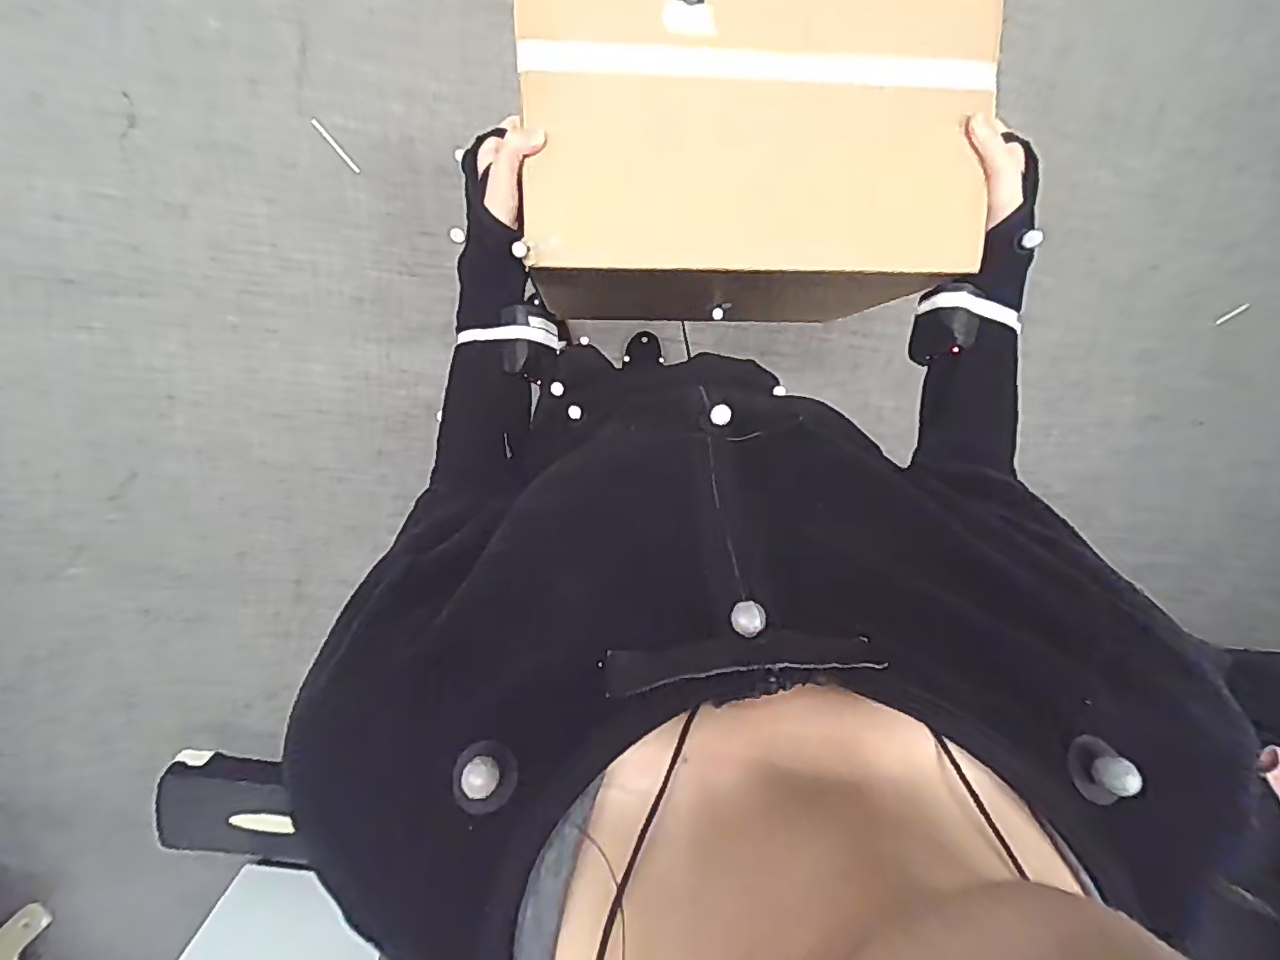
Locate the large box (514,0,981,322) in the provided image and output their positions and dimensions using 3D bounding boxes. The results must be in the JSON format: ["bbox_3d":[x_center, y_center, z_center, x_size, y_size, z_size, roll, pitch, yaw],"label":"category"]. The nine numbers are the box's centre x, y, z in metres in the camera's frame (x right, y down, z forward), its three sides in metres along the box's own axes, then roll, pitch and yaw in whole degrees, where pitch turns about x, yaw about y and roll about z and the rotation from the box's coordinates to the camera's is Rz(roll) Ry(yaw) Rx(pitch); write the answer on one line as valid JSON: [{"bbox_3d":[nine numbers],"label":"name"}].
[{"bbox_3d":[0.086,-0.354,0.609,0.408,0.320,0.320,-1,98,-5],"label":"large box"}]
